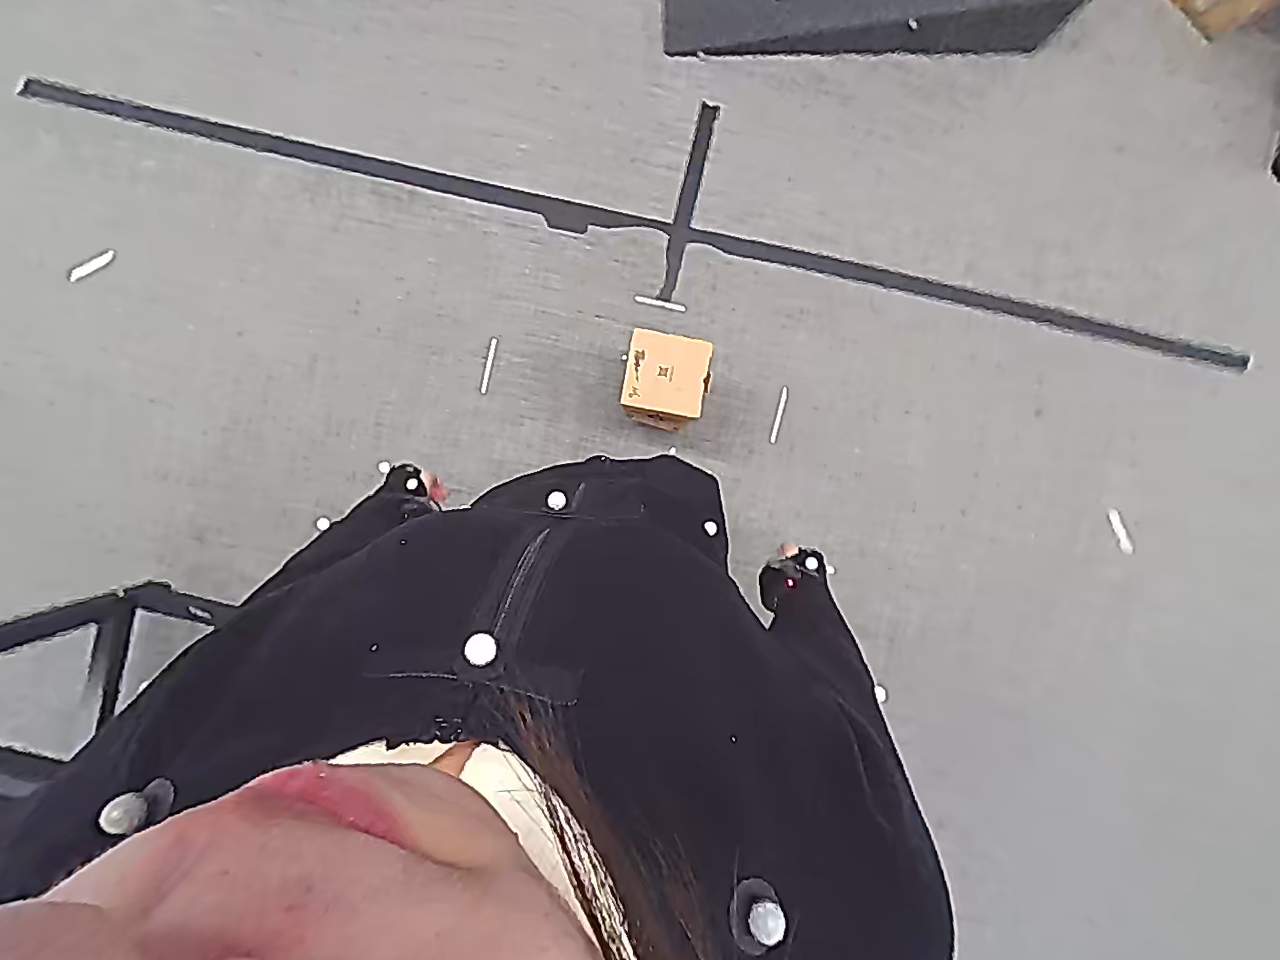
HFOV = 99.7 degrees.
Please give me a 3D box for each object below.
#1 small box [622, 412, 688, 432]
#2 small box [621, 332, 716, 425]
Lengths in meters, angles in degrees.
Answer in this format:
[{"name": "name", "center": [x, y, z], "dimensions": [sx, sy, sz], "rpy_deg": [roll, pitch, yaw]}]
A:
[{"name": "small box", "center": [0.059, -0.226, 1.385], "dimensions": [0.168, 0.176, 0.179], "rpy_deg": [16, 93, -2]}, {"name": "small box", "center": [0.057, -0.220, 1.220], "dimensions": [0.179, 0.176, 0.168], "rpy_deg": [11, 93, -2]}]
